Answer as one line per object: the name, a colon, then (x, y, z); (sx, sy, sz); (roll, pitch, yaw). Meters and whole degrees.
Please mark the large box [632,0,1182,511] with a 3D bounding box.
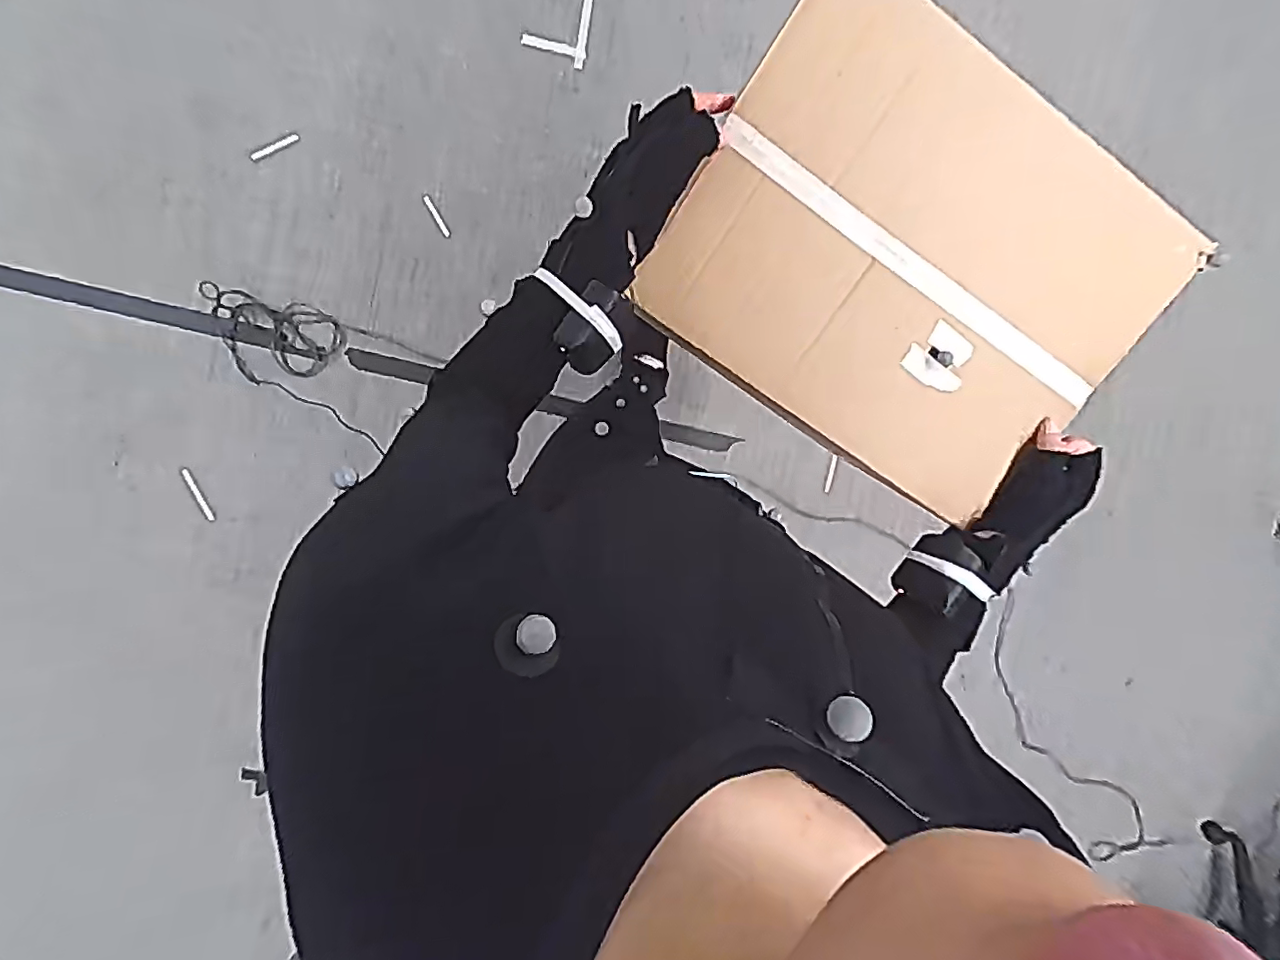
large box: (0.234, -0.231, 0.628); (0.408, 0.320, 0.320); (33, 103, -9)
